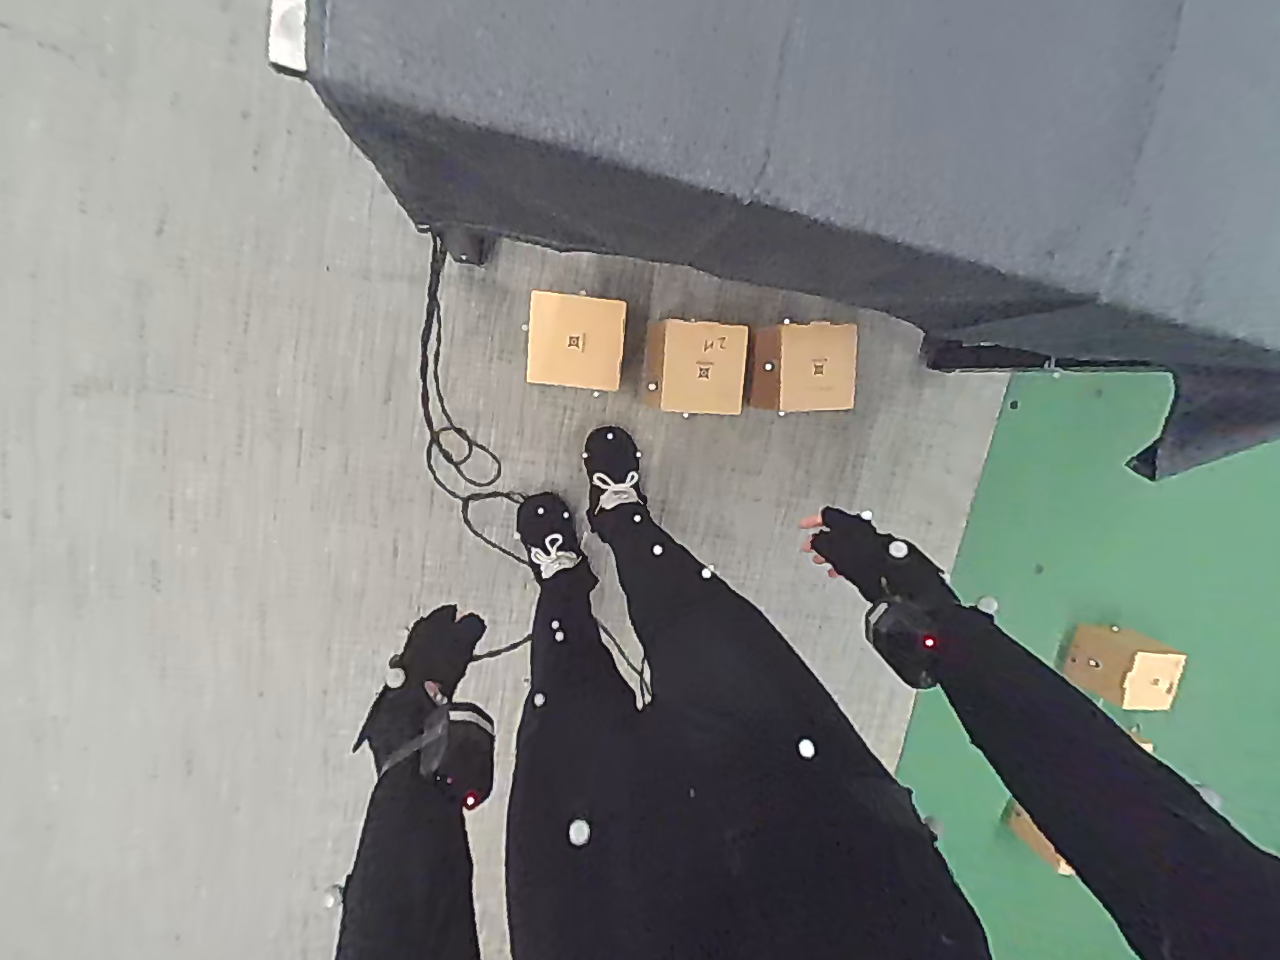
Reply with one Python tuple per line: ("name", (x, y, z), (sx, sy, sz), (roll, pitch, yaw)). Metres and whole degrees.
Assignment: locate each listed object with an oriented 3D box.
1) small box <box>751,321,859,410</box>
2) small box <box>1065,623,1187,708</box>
("small box", (0.345, -0.242, 1.157), (0.168, 0.176, 0.179), (-4, 102, -11))
("small box", (1.354, 0.516, 1.519), (0.179, 0.176, 0.168), (7, 100, -12))
